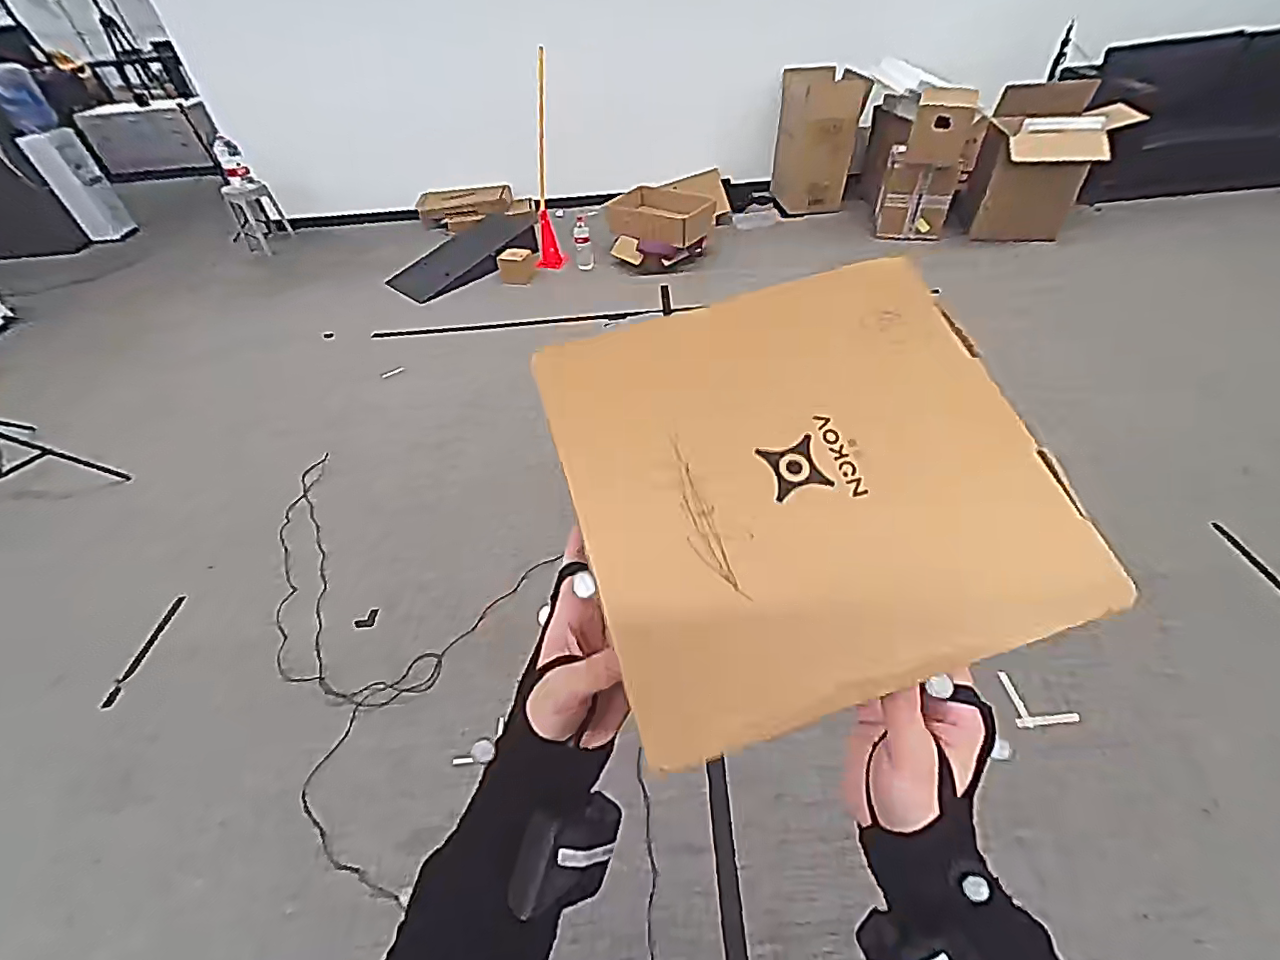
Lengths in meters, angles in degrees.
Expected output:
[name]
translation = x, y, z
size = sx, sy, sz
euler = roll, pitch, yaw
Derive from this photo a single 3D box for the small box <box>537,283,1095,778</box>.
[small box]
translation = 0.063, 0.034, 0.291
size = 0.179, 0.176, 0.168
euler = -19, 67, -5
